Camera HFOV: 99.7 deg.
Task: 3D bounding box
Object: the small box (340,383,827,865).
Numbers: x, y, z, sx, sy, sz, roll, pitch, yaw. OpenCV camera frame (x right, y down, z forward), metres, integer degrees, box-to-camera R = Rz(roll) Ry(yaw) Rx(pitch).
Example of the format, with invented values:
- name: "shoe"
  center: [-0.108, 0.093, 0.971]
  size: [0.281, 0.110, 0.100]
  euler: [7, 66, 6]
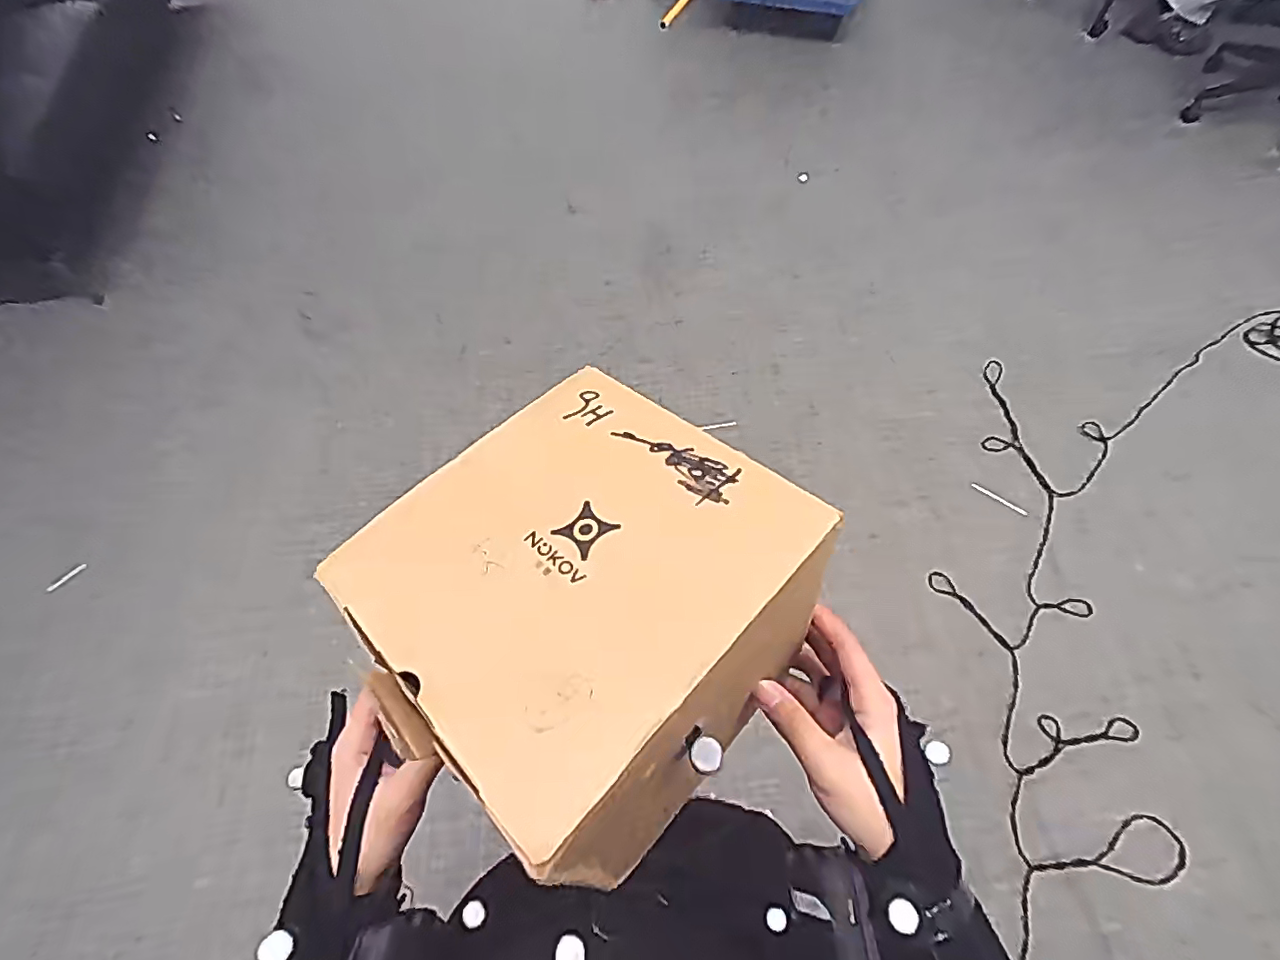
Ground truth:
- name: "small box"
  center: [-0.019, 0.084, 0.313]
  size: [0.168, 0.176, 0.179]
  euler: [34, 64, 29]
